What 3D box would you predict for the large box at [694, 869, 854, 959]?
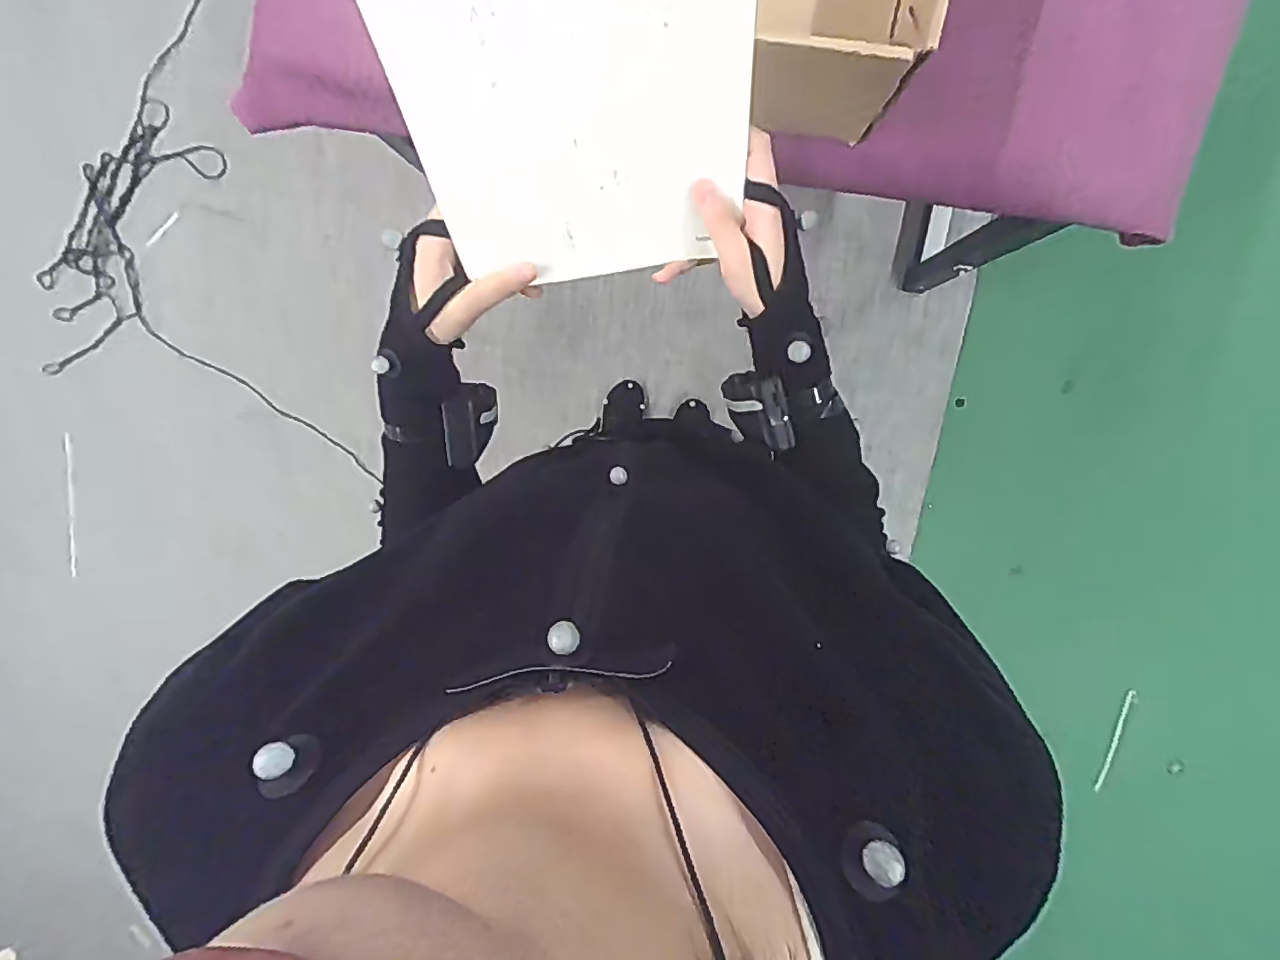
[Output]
[{"bbox_3d":[0.373,1.376,1.538,0.408,0.320,0.320,-5,99,4],"label":"large box"}]
